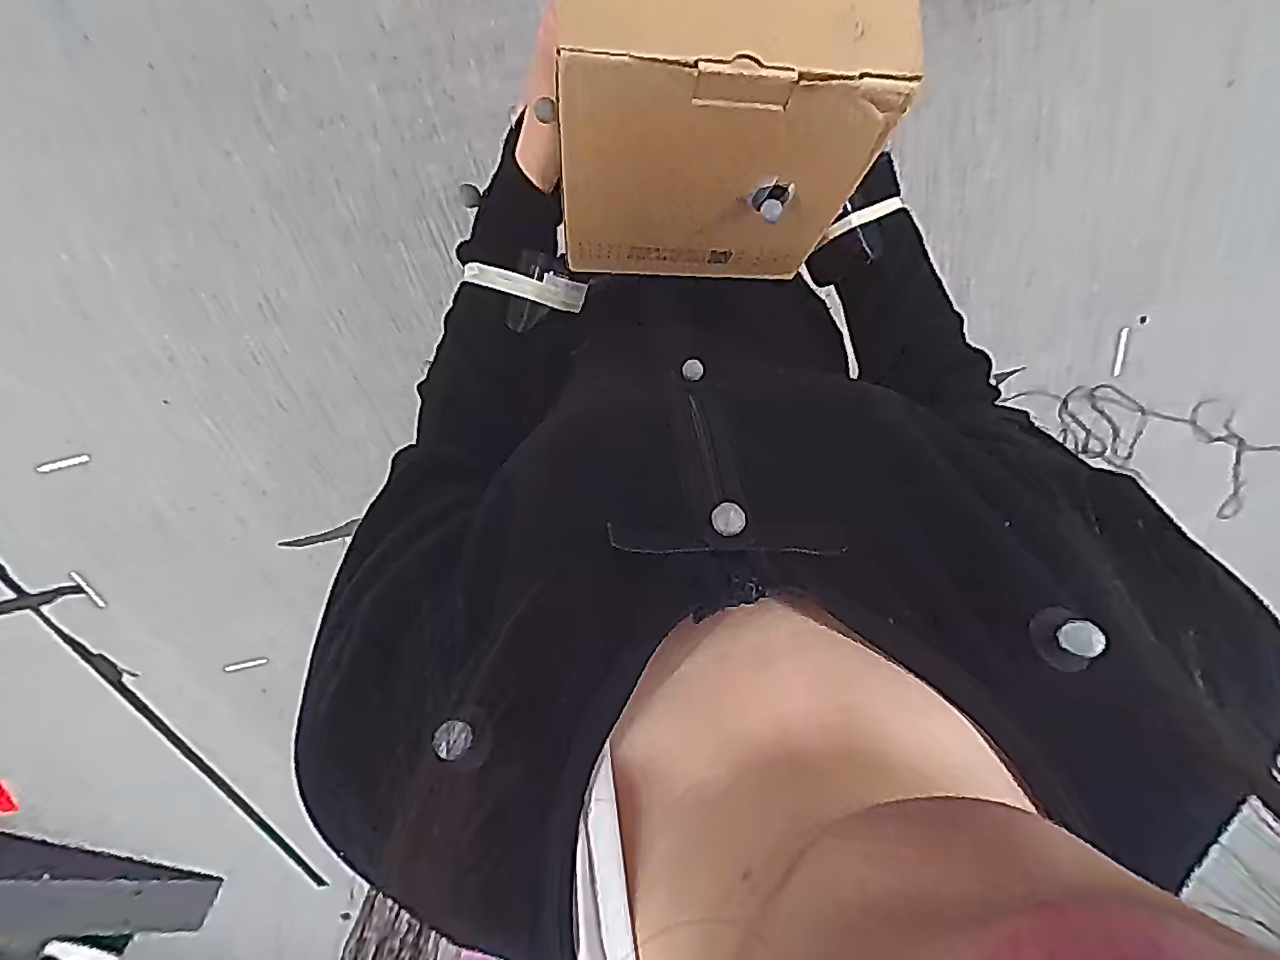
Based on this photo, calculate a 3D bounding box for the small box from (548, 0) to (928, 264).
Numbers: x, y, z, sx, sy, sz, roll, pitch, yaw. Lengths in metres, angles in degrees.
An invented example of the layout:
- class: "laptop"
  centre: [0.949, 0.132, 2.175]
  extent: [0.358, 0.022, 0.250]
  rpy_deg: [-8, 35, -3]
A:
- class: "small box"
  centre: [0.035, -0.249, 0.319]
  extent: [0.168, 0.176, 0.179]
  rpy_deg: [0, 80, -6]
